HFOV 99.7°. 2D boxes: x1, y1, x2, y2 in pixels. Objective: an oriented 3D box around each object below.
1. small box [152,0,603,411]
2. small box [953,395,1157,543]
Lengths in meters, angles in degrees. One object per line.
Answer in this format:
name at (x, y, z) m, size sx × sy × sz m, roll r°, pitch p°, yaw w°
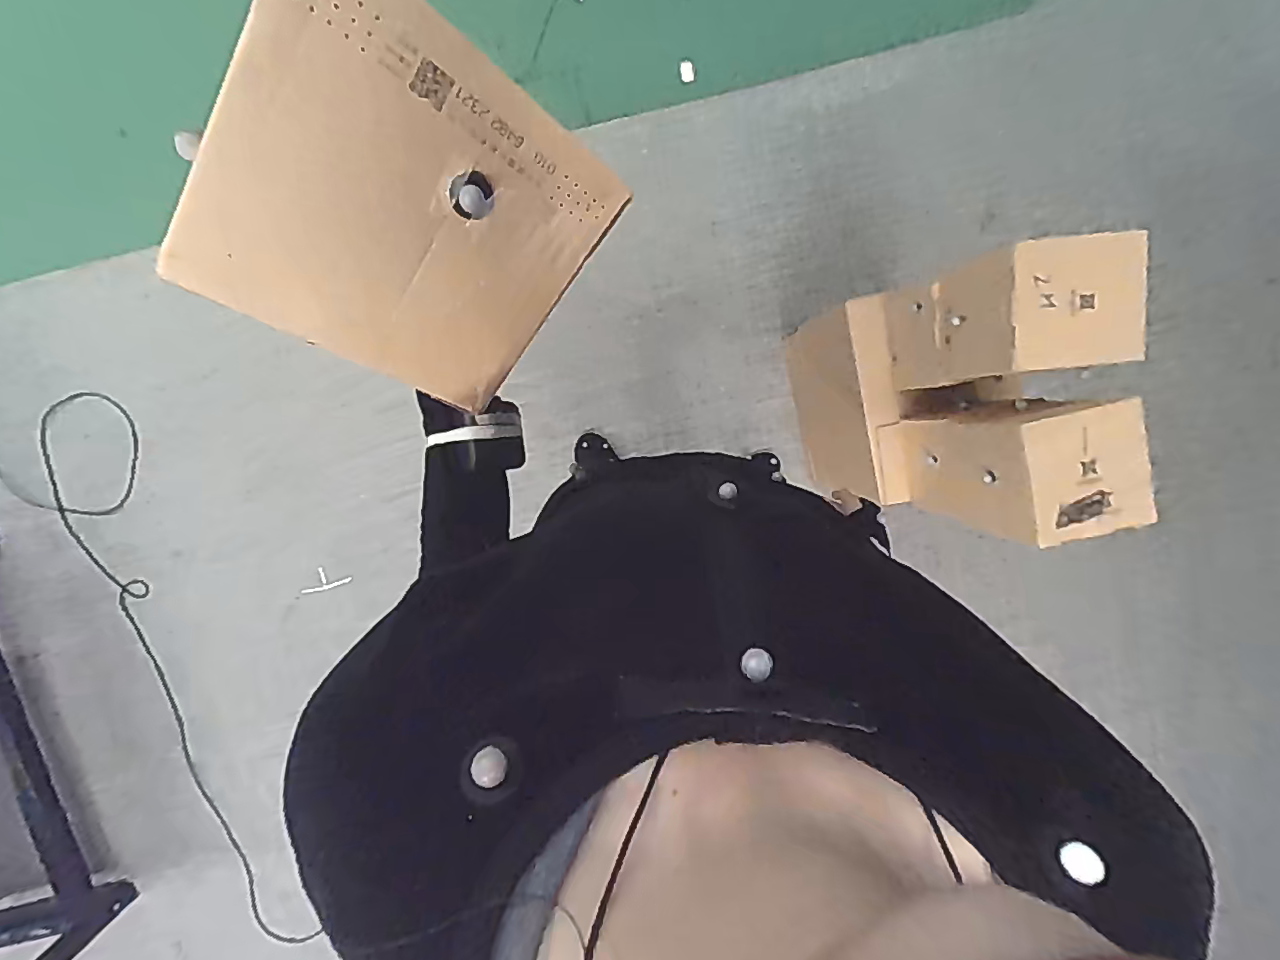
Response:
small box at (-0.147, -0.180, 0.330) m, size 0.168 × 0.179 × 0.176 m, roll 24°, pitch 116°, yaw -39°
small box at (0.599, -0.022, 0.801) m, size 0.168 × 0.176 × 0.179 m, roll -13°, pitch 95°, yaw 1°
